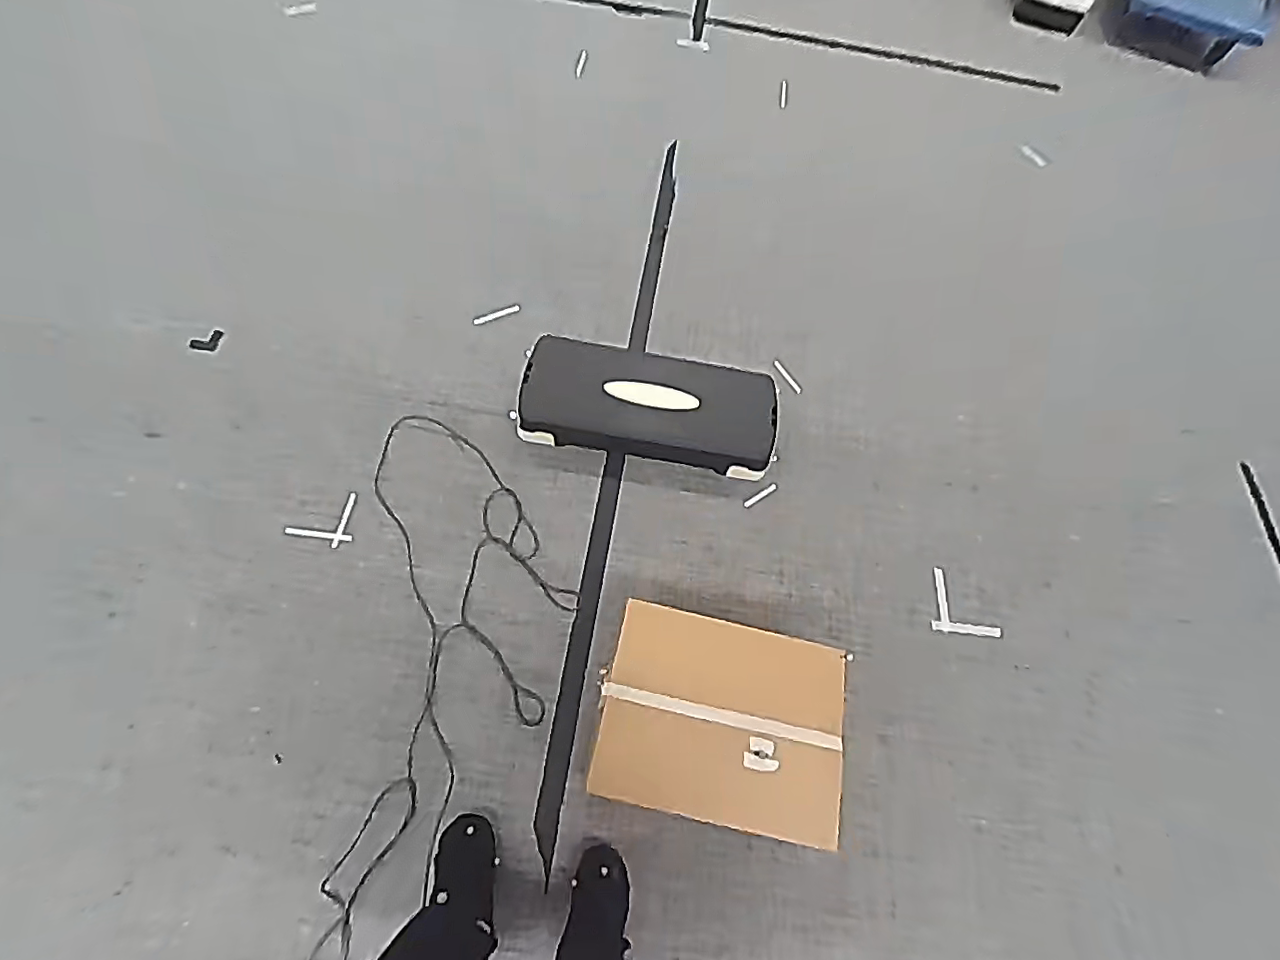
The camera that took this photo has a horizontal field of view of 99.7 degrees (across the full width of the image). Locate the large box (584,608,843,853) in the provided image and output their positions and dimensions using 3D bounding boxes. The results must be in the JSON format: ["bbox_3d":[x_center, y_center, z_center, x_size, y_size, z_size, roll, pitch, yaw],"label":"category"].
[{"bbox_3d":[0.123,0.467,1.035,0.408,0.320,0.320,14,65,-1],"label":"large box"}]
